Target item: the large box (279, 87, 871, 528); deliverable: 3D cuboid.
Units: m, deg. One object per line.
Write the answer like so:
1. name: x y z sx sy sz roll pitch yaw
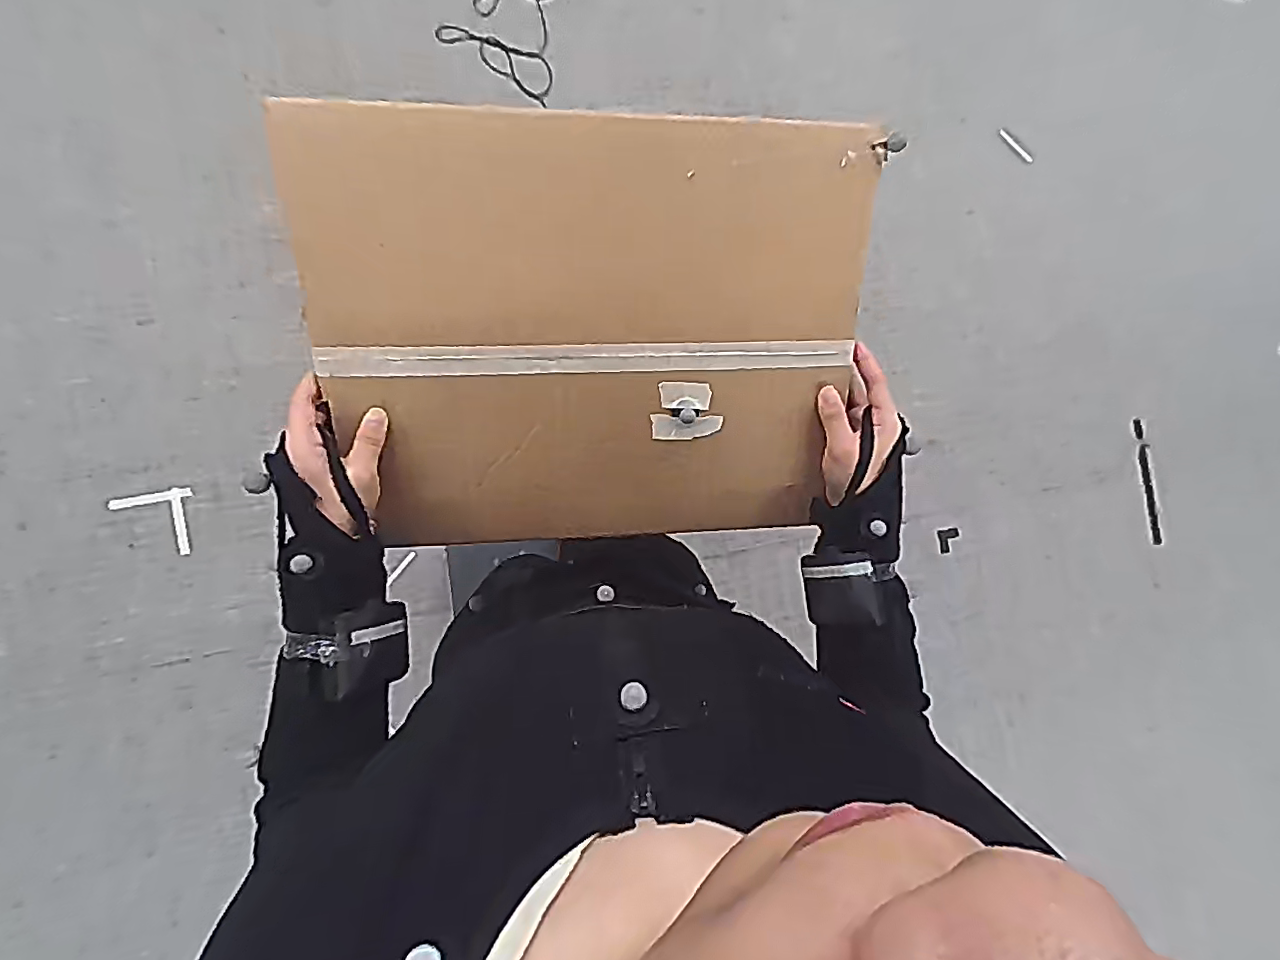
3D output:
1. large box: -0.052 -0.169 0.553 0.408 0.320 0.320 -3 114 -8
